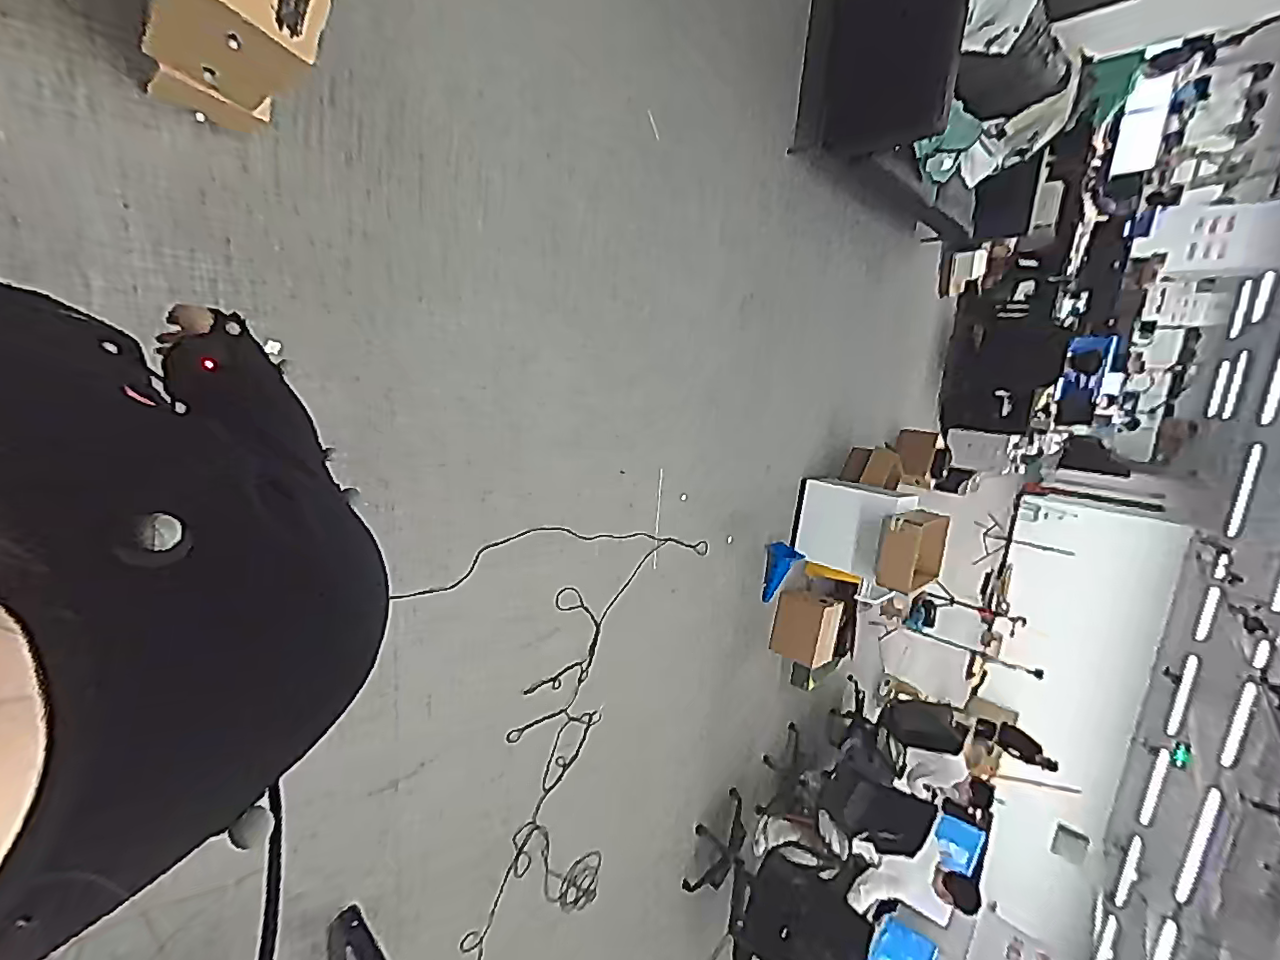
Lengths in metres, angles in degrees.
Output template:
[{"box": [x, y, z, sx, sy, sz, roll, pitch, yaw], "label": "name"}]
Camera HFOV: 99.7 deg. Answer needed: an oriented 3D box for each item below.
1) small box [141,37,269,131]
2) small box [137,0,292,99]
[{"box": [-0.822, -0.810, 1.029, 0.168, 0.176, 0.179, 7, 96, -49], "label": "small box"}, {"box": [-0.713, -0.789, 0.907, 0.168, 0.176, 0.179, 13, 92, -50], "label": "small box"}]
